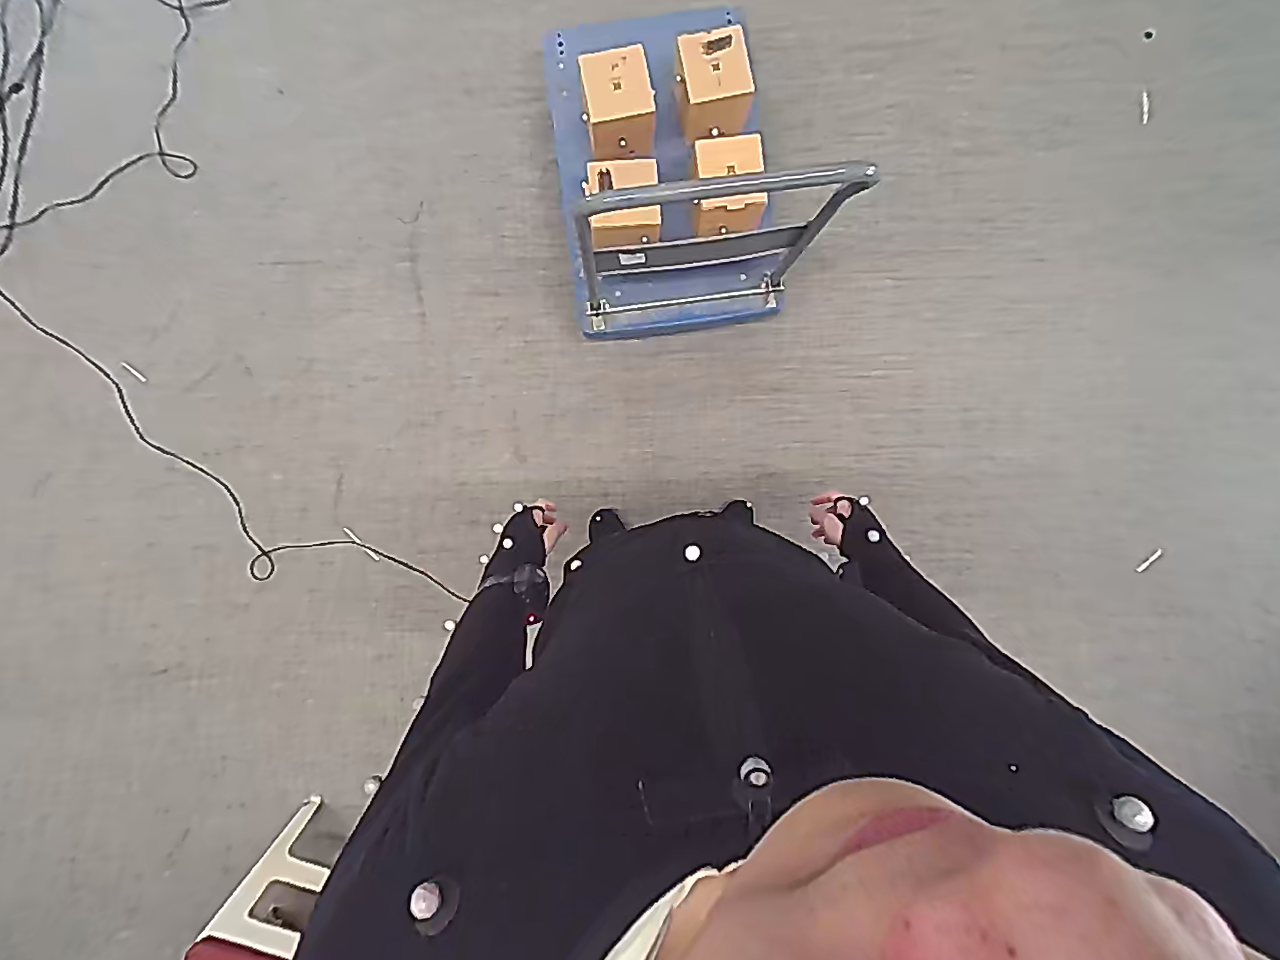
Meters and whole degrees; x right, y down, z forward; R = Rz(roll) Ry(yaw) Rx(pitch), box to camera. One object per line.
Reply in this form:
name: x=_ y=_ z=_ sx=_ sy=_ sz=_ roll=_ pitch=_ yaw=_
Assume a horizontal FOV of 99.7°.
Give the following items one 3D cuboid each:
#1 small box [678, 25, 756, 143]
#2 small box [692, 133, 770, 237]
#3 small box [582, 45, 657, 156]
small box: x=0.197 y=-1.041 z=1.431 sx=0.168 sy=0.176 sz=0.179 roll=-11 pitch=90 yaw=1
small box: x=0.234 y=-0.772 z=1.426 sx=0.168 sy=0.176 sz=0.179 roll=-7 pitch=89 yaw=0
small box: x=-0.050 y=-0.990 z=1.431 sx=0.168 sy=0.176 sz=0.179 roll=-11 pitch=89 yaw=-1
